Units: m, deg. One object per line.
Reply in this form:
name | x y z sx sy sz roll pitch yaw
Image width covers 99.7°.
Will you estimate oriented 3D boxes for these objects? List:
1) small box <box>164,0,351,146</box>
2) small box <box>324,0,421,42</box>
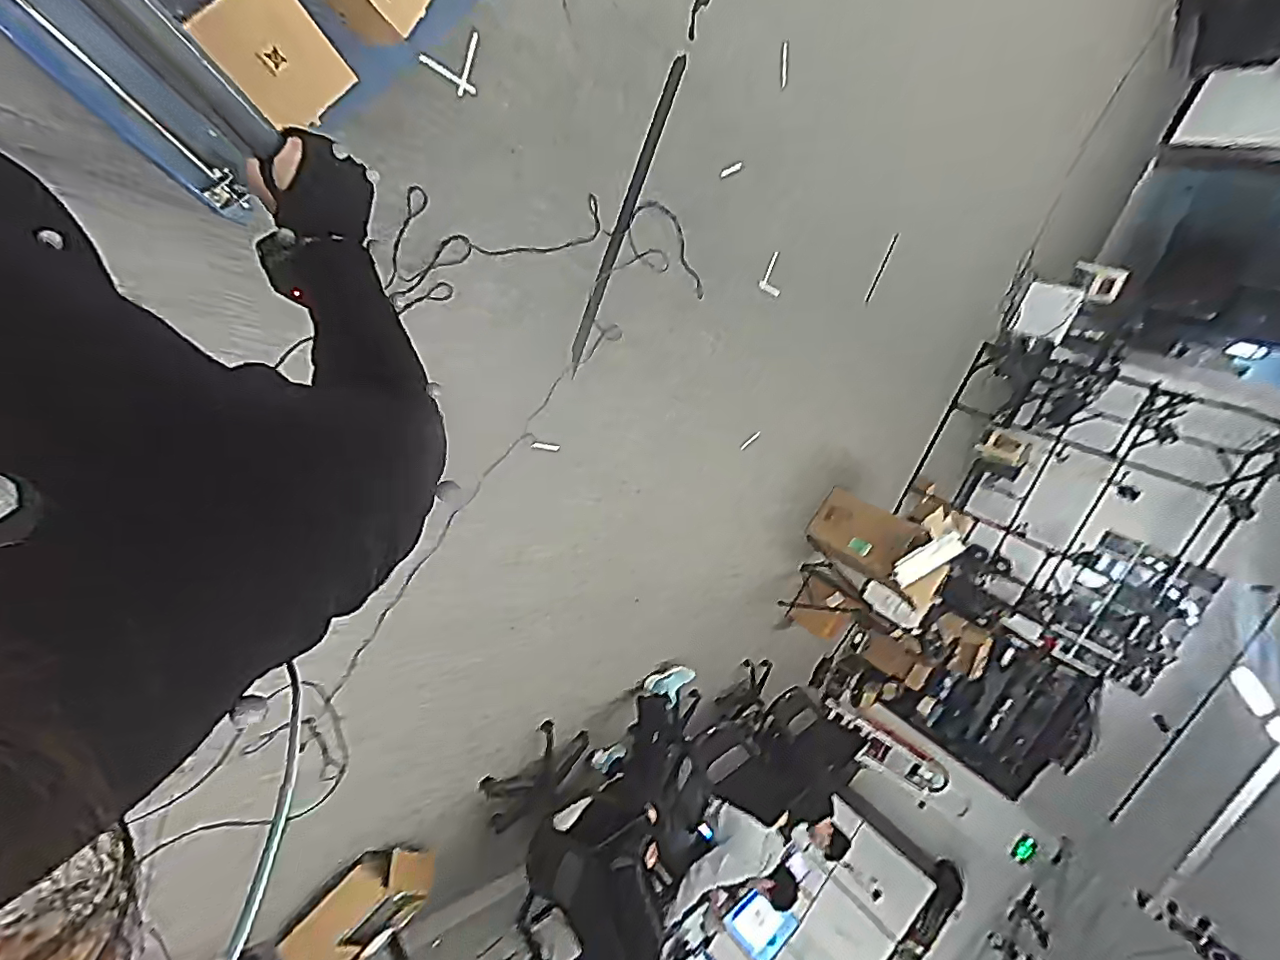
small box | -0.614 -0.669 0.867 0.179 0.176 0.168 -51 142 -9
small box | -0.458 -0.873 0.894 0.168 0.176 0.179 31 90 -52
